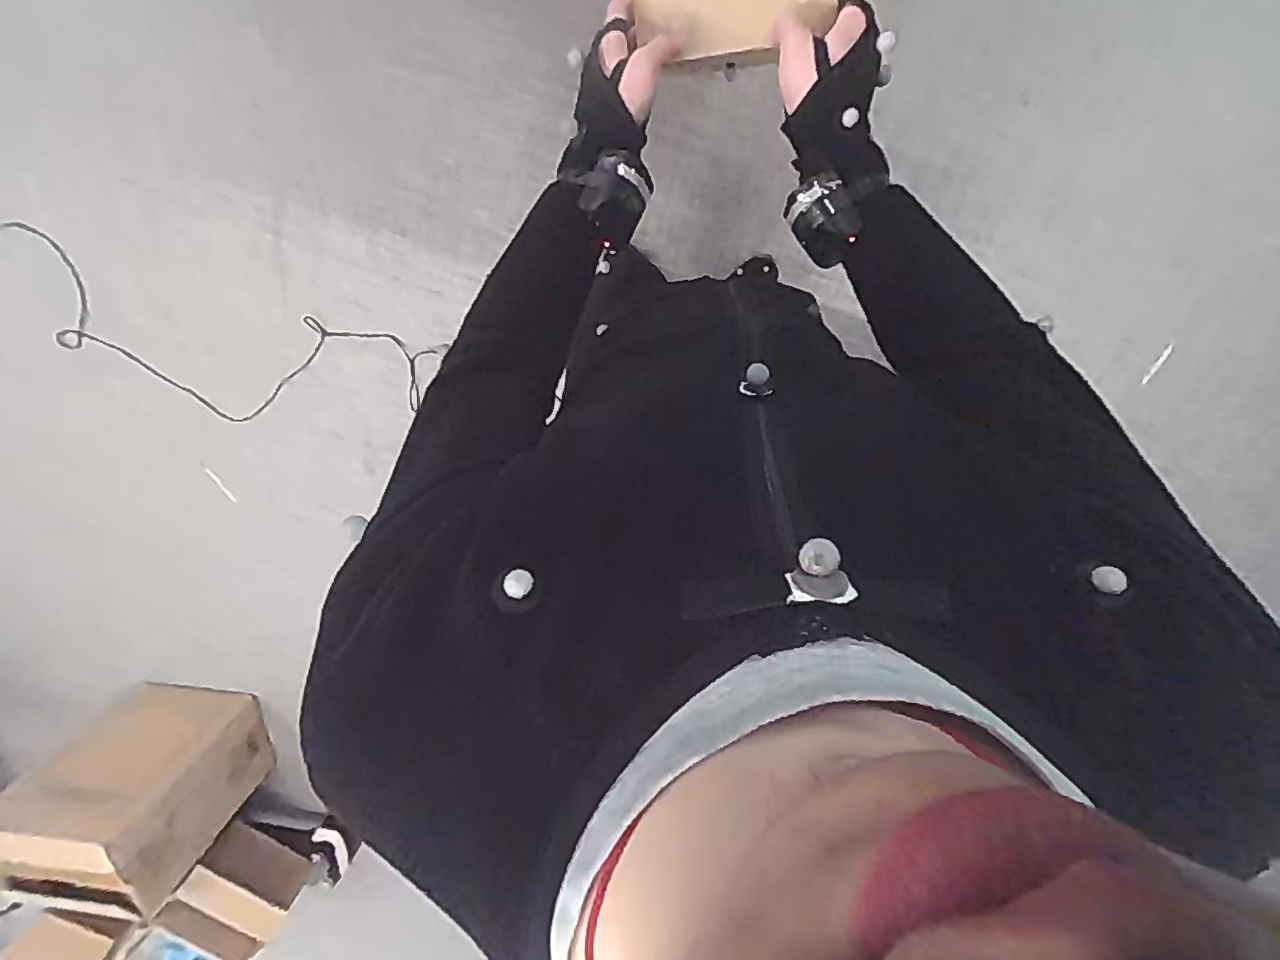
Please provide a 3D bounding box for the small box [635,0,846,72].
[{"bbox_3d":[0.090,-0.486,0.489,0.179,0.176,0.168,1,122,12],"label":"small box"}]
